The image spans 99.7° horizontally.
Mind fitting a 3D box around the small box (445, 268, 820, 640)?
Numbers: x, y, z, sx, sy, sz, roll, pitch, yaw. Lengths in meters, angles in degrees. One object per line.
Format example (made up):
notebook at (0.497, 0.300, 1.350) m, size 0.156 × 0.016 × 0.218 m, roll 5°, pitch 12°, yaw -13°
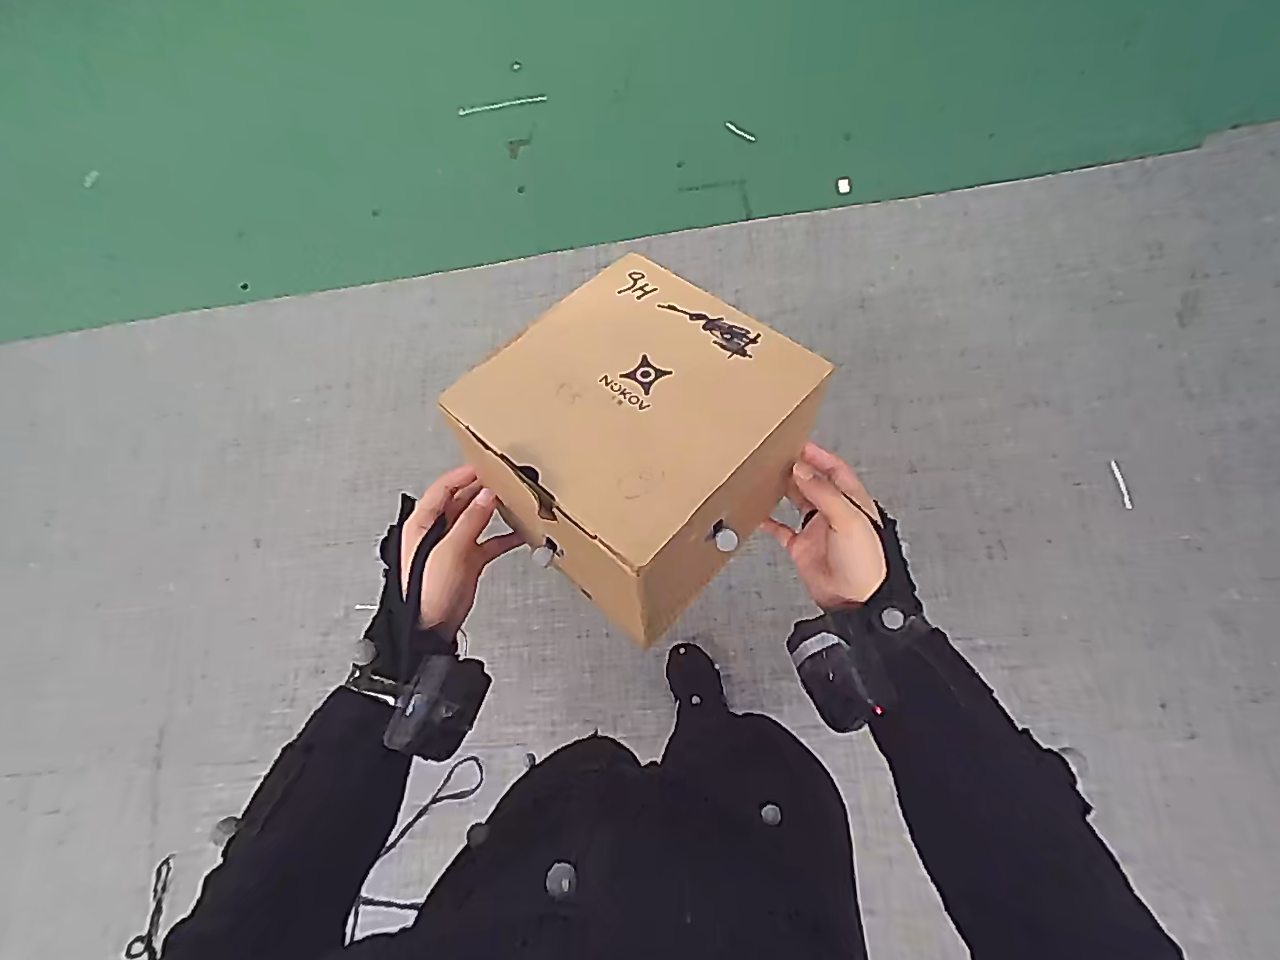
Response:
small box at (0.000, -0.011, 0.398) m, size 0.168 × 0.176 × 0.179 m, roll 38°, pitch 68°, yaw 22°
